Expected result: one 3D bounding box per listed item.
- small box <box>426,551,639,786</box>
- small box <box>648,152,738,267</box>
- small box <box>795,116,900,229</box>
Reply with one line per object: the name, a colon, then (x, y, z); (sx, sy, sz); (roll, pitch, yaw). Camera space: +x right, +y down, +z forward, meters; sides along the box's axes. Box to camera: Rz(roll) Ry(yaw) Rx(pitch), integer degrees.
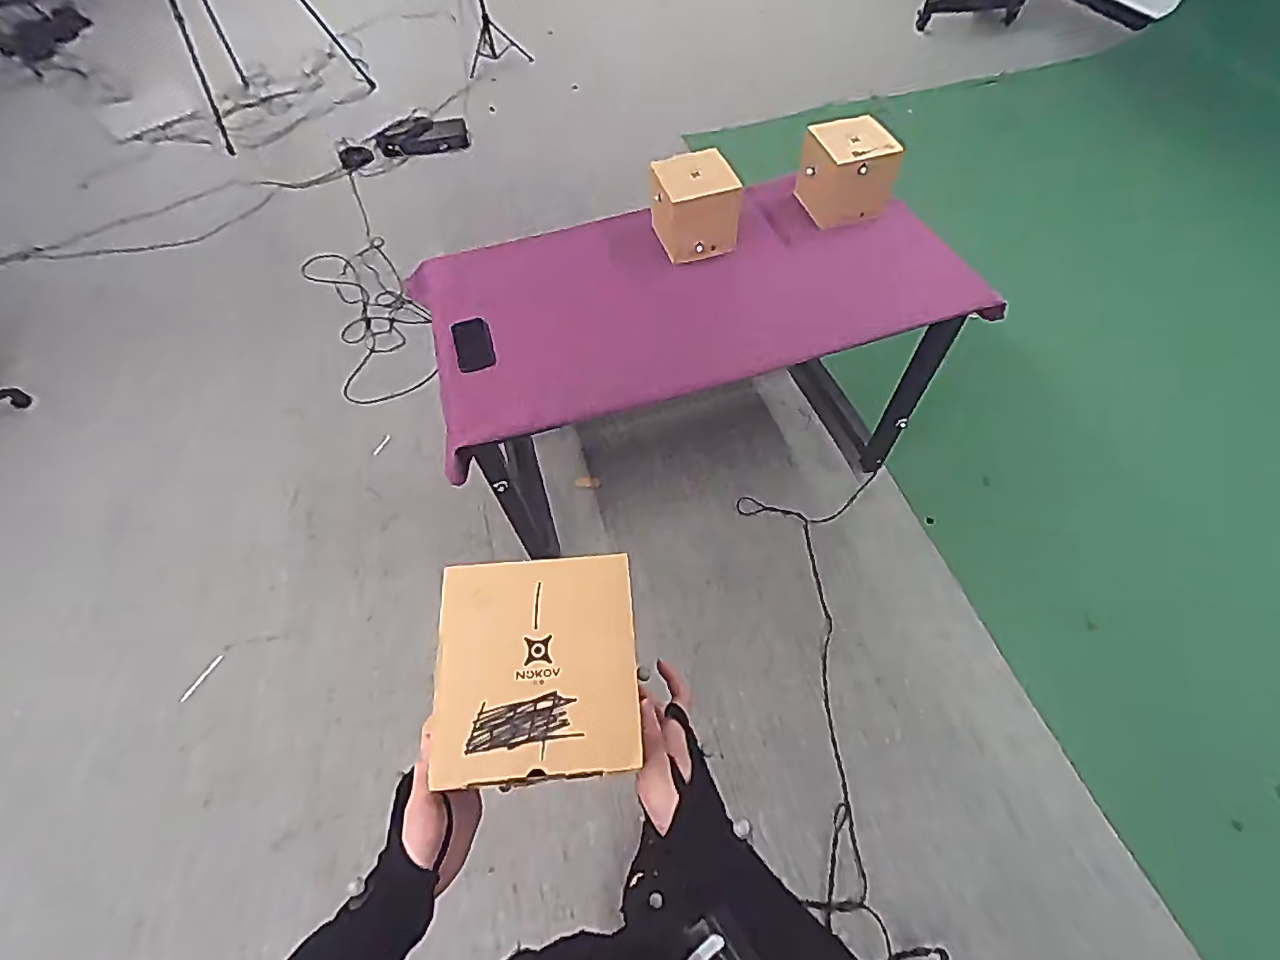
small box: (-0.088, 0.181, 0.519); (0.168, 0.176, 0.179); (-4, 64, -3)
small box: (0.123, -0.646, 1.297); (0.168, 0.176, 0.179); (-16, 59, -4)
small box: (0.497, -0.752, 1.330); (0.168, 0.176, 0.179); (-16, 58, -4)
